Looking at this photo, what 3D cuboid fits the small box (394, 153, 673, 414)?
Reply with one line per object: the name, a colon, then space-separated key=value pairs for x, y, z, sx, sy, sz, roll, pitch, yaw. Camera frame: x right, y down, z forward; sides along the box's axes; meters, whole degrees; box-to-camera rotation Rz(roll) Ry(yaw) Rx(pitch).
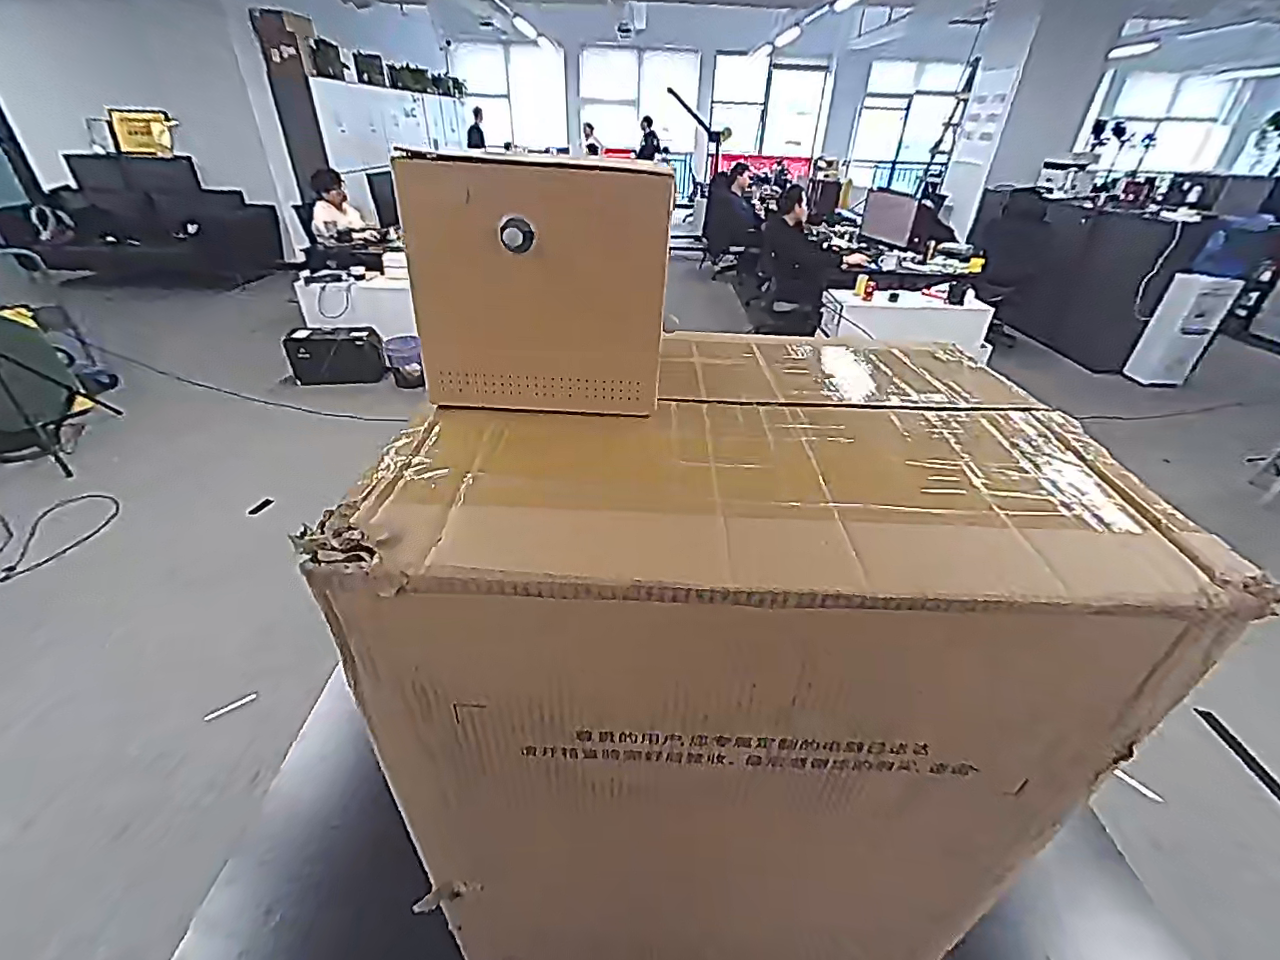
small box: x=-0.068 y=-0.162 z=0.440 sx=0.179 sy=0.176 sz=0.168 roll=3 pitch=31 yaw=-1
